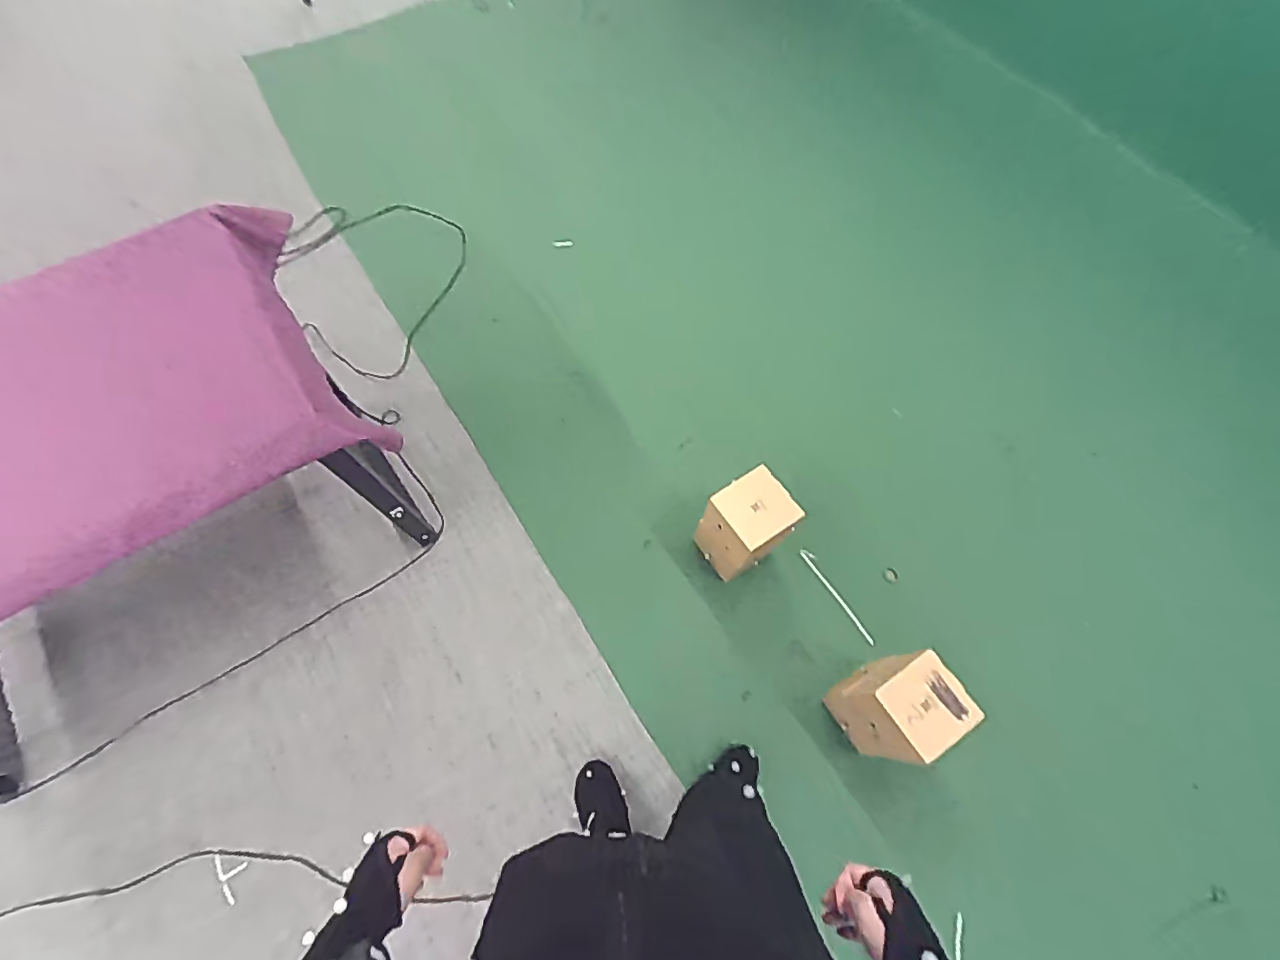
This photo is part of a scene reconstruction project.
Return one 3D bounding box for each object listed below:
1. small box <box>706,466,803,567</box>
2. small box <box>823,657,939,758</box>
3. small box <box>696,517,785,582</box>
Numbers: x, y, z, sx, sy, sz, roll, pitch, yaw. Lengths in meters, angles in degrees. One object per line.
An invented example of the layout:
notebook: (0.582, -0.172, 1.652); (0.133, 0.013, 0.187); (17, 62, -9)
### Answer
small box: (0.284, 0.100, 1.394); (0.179, 0.176, 0.168); (-31, 70, -16)
small box: (0.600, 0.573, 1.370); (0.179, 0.176, 0.168); (-29, 70, -14)
small box: (0.277, 0.164, 1.542); (0.179, 0.176, 0.168); (-31, 70, -14)
